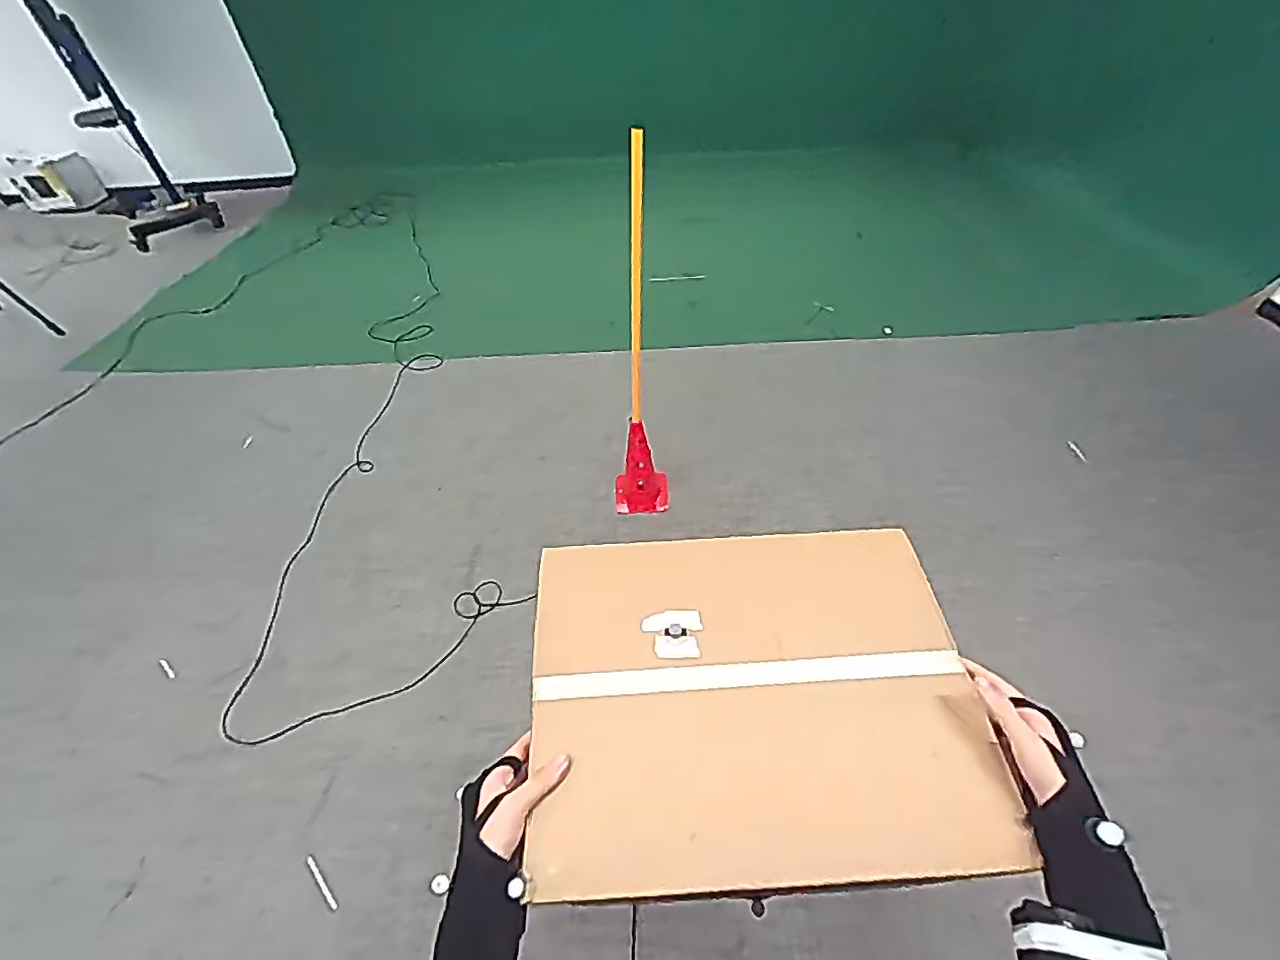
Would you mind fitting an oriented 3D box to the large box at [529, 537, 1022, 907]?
[{"bbox_3d":[0.108,0.291,0.635,0.408,0.320,0.320,-4,50,0],"label":"large box"}]
